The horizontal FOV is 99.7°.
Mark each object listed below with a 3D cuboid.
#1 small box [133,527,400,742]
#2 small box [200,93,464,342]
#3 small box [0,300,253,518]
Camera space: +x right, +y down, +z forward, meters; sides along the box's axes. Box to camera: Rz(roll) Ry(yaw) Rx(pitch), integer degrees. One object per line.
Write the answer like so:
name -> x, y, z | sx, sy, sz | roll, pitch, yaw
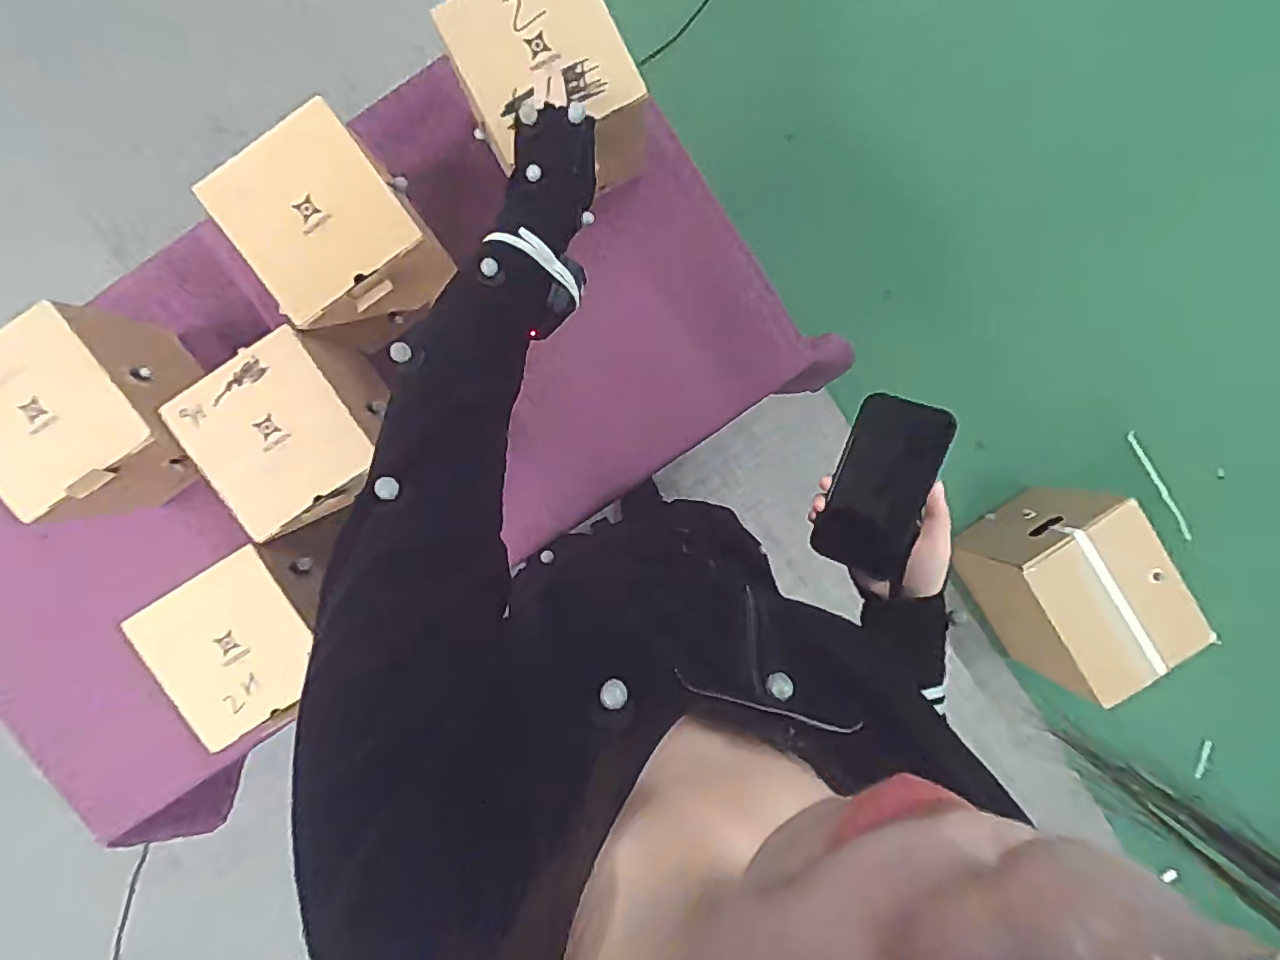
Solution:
small box -> -0.438, 0.171, 0.669 | 0.168, 0.176, 0.179 | -31, 95, 1
small box -> -0.342, -0.288, 0.640 | 0.168, 0.176, 0.179 | -37, 96, 1
small box -> -0.624, -0.080, 0.646 | 0.168, 0.176, 0.179 | -34, 95, 0
